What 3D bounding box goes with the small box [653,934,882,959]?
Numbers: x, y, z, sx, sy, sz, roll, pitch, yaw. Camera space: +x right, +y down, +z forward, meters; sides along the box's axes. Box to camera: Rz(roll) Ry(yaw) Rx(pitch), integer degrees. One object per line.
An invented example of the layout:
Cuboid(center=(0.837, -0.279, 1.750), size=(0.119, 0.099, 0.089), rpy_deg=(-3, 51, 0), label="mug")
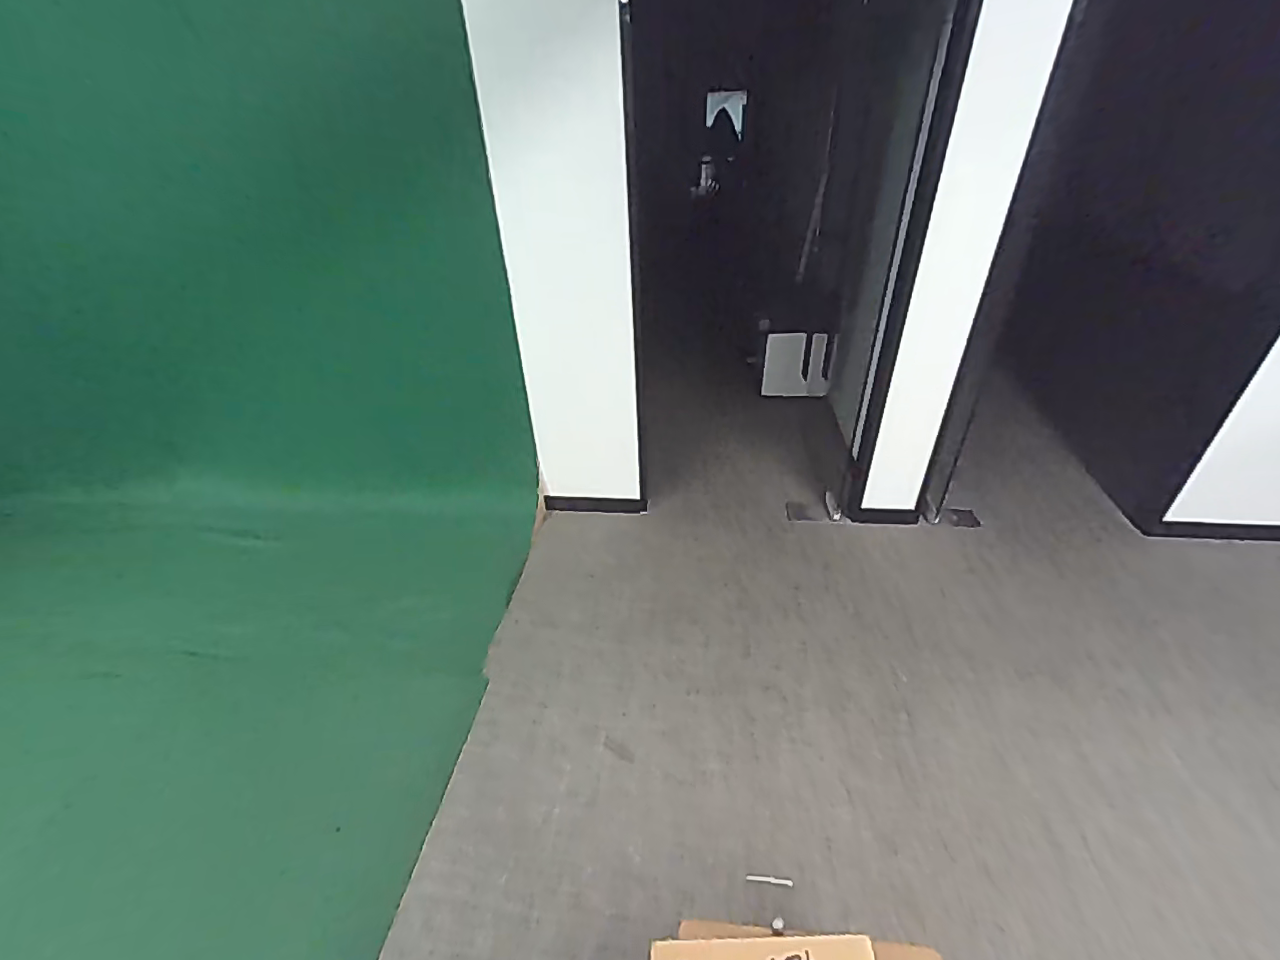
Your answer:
Cuboid(center=(0.097, 0.453, 0.396), size=(0.168, 0.176, 0.179), rpy_deg=(-3, 46, 1), label="small box")
